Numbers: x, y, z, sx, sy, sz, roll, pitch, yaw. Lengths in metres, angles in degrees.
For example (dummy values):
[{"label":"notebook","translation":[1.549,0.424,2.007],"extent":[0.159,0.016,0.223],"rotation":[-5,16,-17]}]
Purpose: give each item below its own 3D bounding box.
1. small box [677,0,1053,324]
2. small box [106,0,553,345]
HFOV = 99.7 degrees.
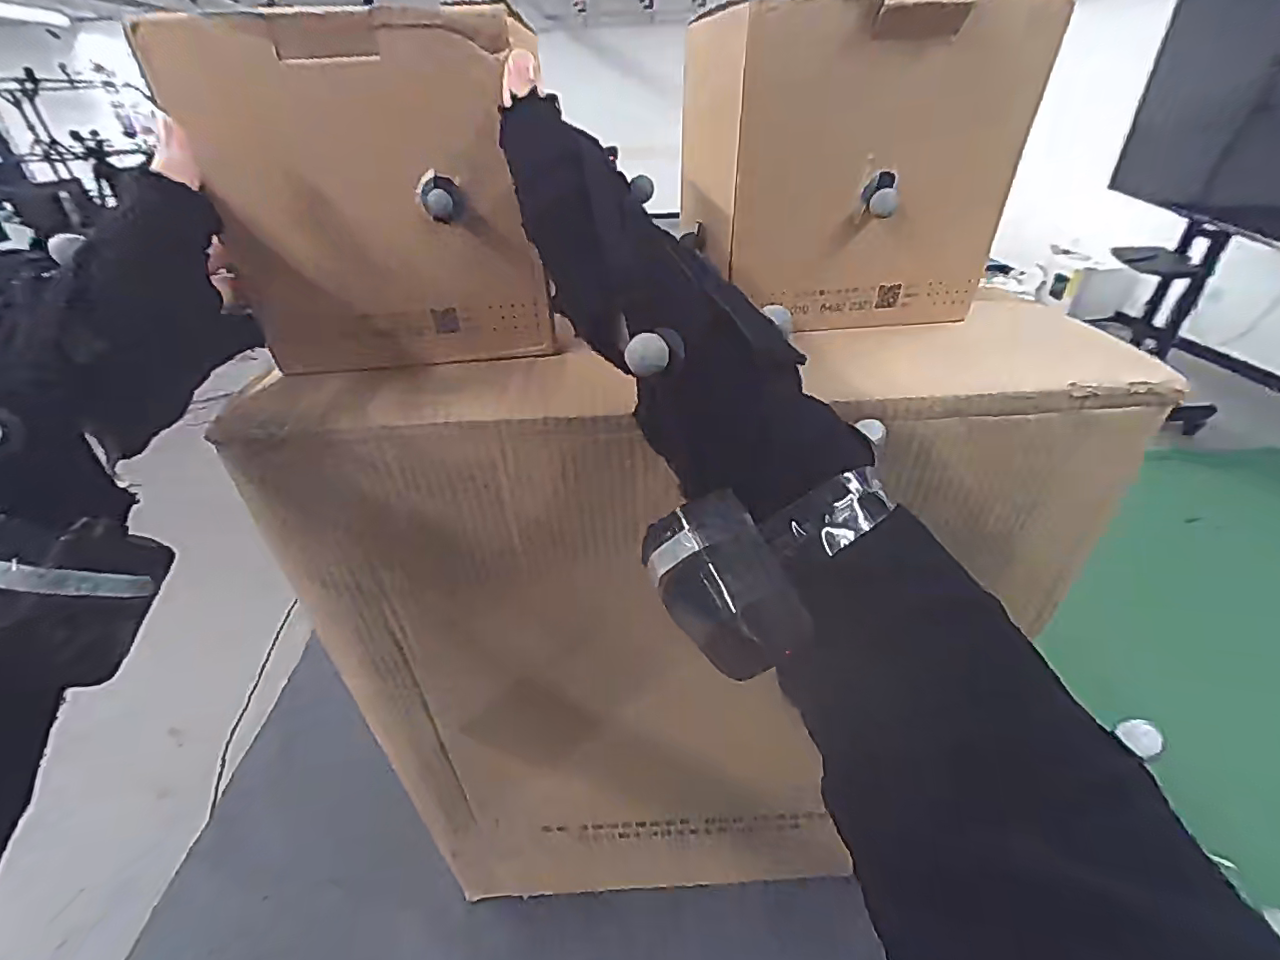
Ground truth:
[{"label":"small box","translation":[0.119,-0.216,0.376],"extent":[0.168,0.176,0.179],"rotation":[-5,38,-4]},{"label":"small box","translation":[-0.149,-0.194,0.343],"extent":[0.168,0.176,0.179],"rotation":[-7,38,-5]}]
